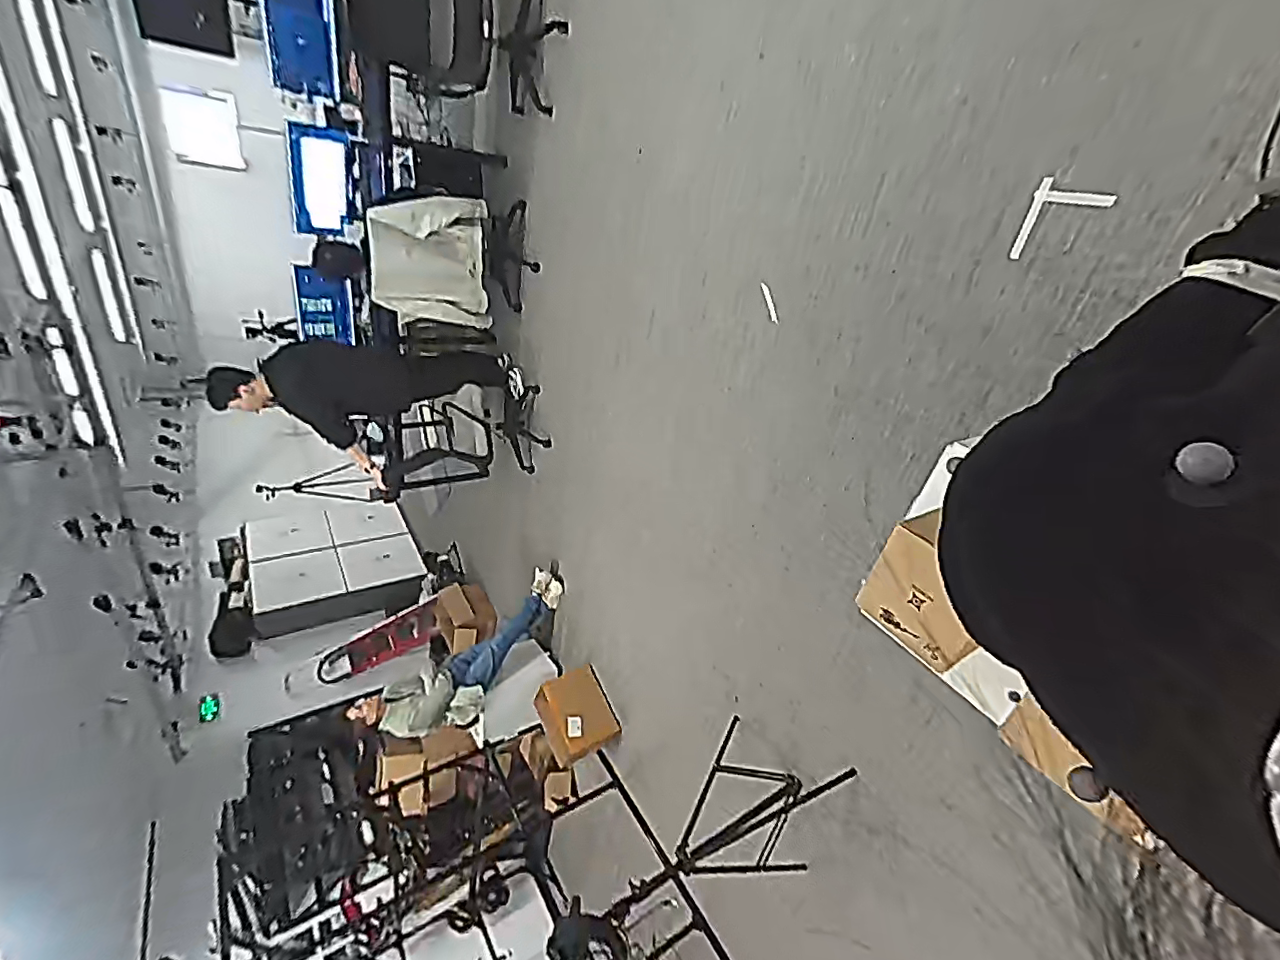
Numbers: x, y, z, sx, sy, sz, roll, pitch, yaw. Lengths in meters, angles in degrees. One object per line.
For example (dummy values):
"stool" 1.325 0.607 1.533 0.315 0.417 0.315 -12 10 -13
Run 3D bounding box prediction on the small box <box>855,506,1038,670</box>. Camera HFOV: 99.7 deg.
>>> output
"small box" 0.488 0.160 0.859 0.168 0.176 0.179 45 132 40
